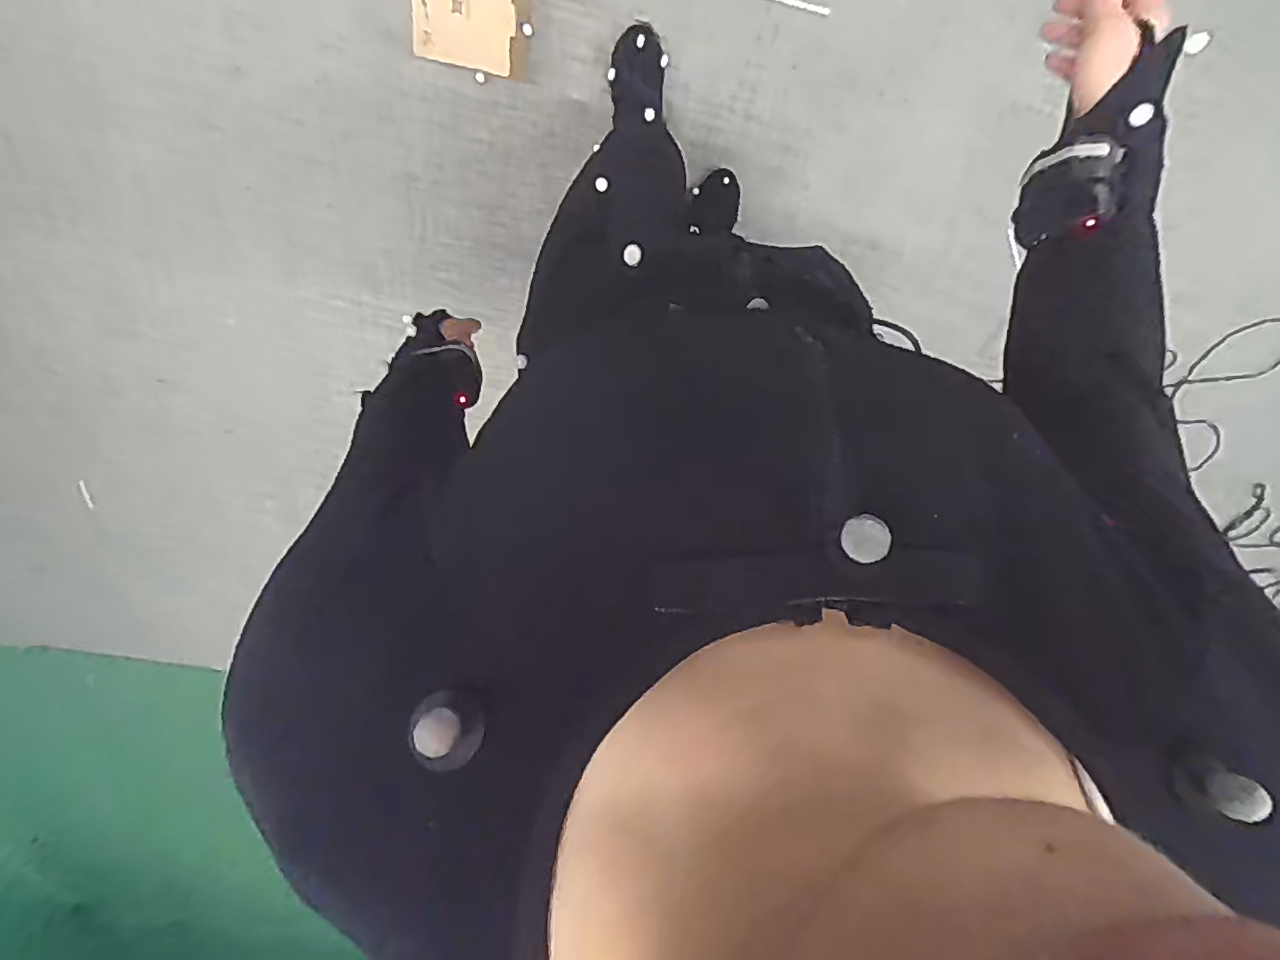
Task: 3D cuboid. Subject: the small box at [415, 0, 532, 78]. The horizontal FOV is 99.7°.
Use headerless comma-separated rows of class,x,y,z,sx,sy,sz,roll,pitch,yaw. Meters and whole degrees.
small box,-0.305,-0.871,1.012,0.179,0.176,0.168,10,123,-5
